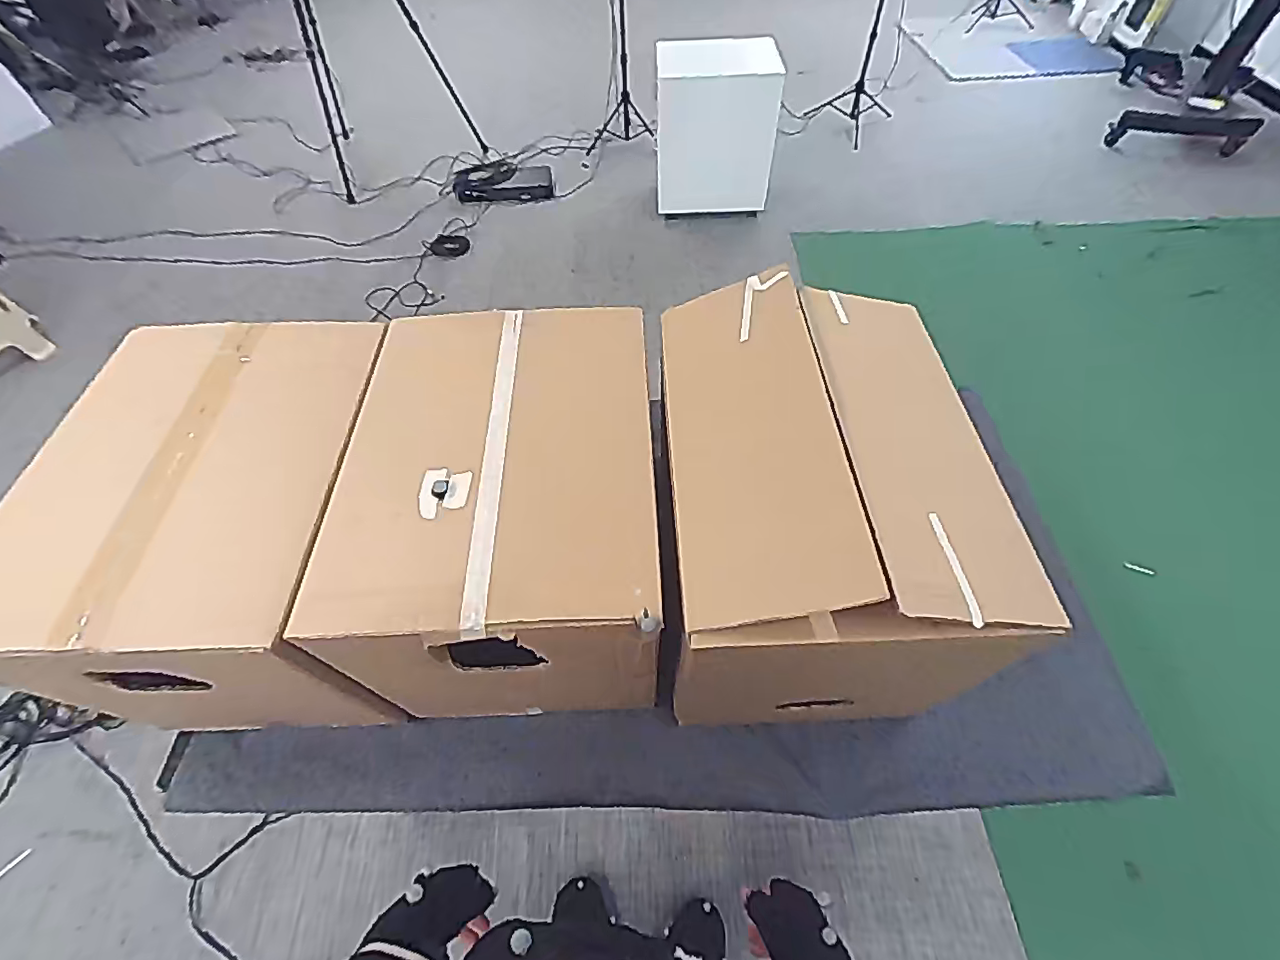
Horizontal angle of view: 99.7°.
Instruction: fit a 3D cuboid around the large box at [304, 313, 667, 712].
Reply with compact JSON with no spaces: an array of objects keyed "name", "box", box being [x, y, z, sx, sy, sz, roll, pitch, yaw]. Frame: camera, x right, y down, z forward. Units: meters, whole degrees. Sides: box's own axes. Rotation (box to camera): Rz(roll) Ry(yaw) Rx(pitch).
[{"name":"large box","box":[-0.139,0.044,0.683,0.320,0.320,0.408,-3,56,0]}]
